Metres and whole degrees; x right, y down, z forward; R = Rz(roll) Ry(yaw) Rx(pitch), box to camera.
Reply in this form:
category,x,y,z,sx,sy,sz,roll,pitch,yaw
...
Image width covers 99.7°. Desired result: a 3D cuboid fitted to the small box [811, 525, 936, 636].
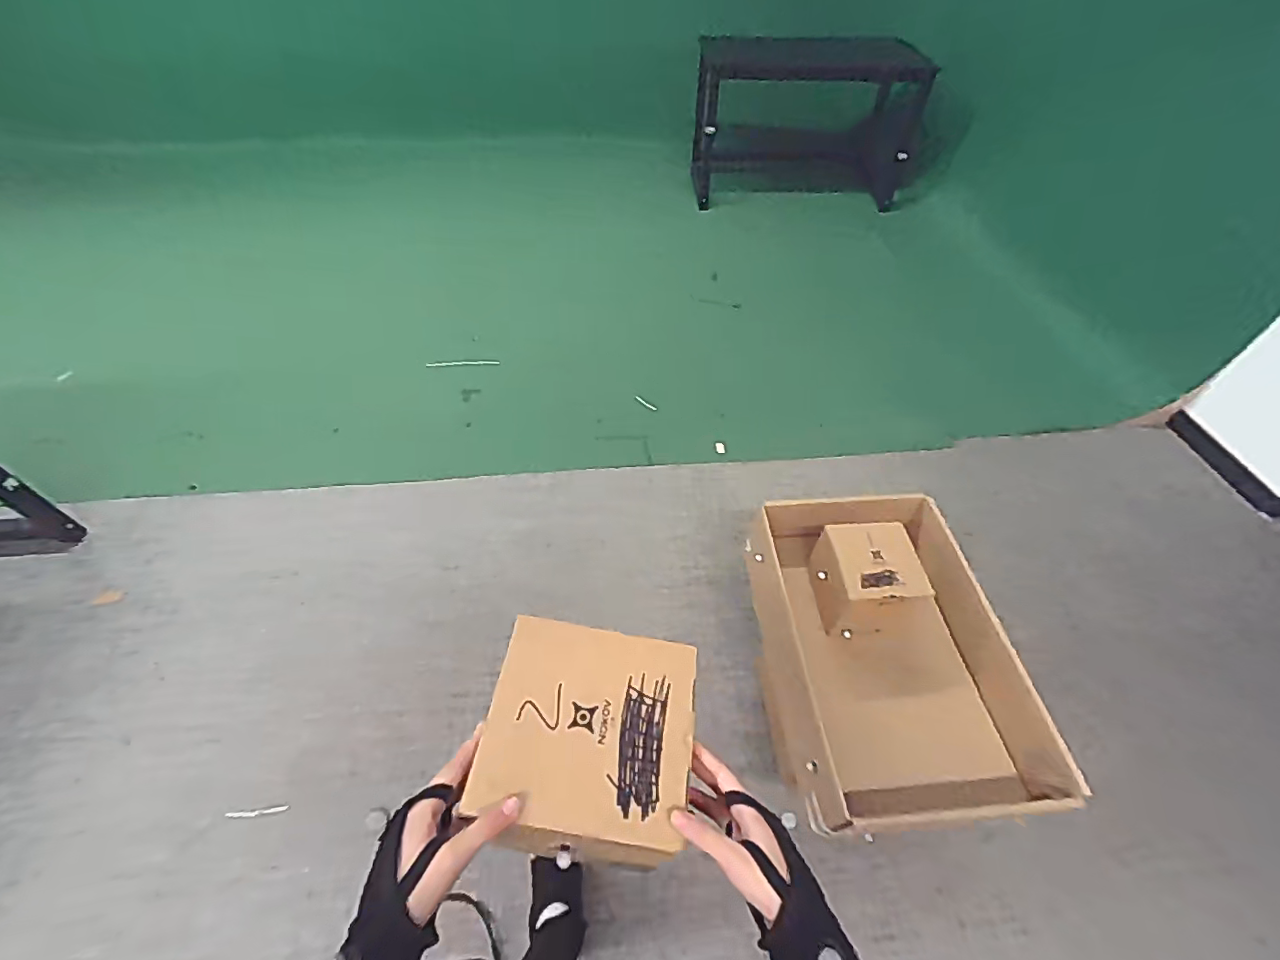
category,x,y,z,sx,sy,sz,roll,pitch,yaw
small box,0.472,0.214,1.125,0.168,0.176,0.179,-2,50,-2
